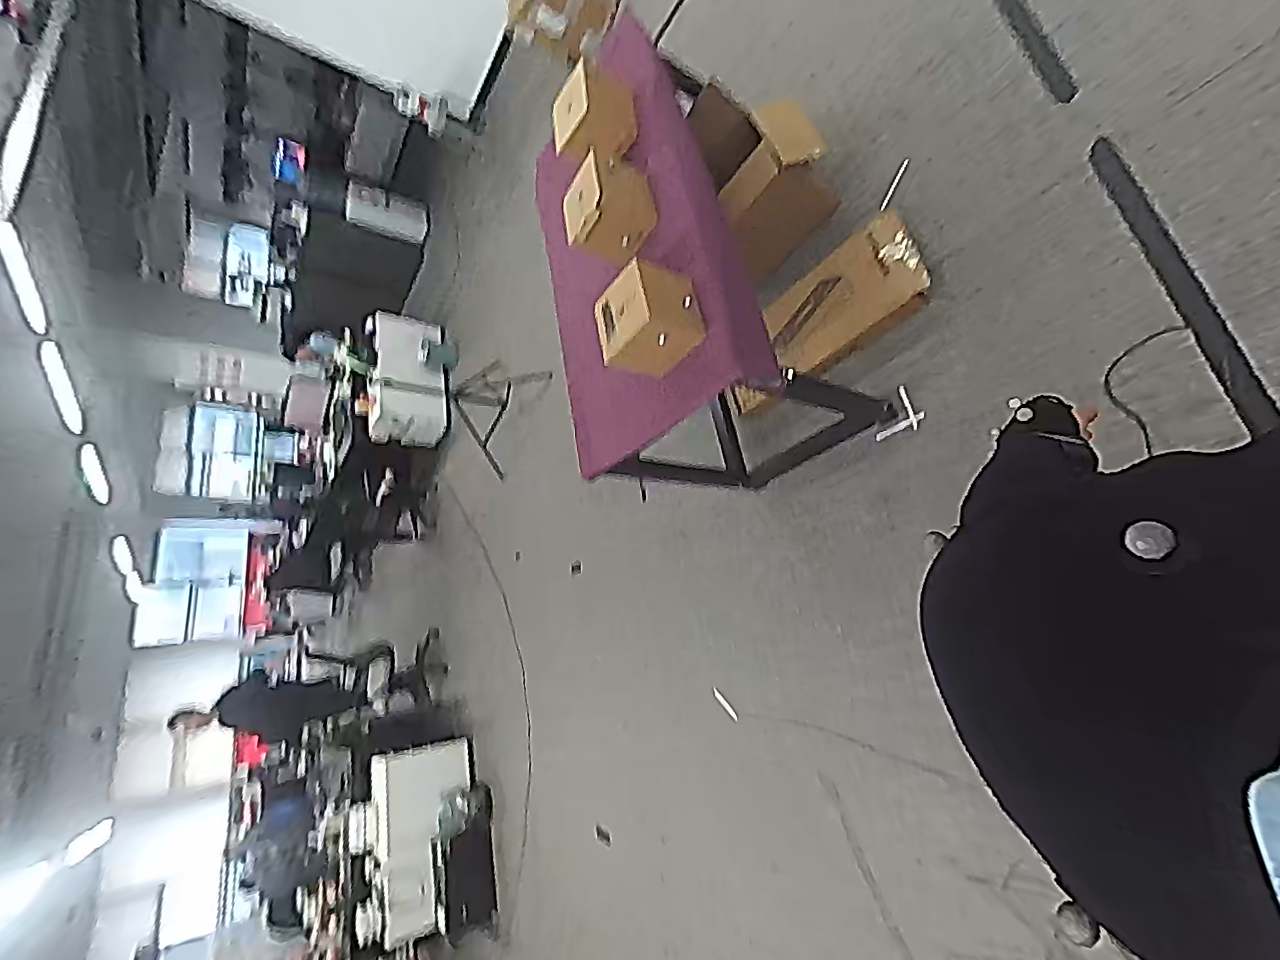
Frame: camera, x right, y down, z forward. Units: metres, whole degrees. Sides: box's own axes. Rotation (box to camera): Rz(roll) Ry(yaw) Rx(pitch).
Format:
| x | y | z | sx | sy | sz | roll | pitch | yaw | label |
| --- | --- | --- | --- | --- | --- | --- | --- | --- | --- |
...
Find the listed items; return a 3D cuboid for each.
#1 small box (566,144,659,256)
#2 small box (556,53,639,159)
| x | y | z | sx | sy | sz | roll | pitch | yaw | label |
| --- | --- | --- | --- | --- | --- | --- | --- | --- | --- |
| -0.072 | -0.720 | 1.413 | 0.168 | 0.176 | 0.179 | -37 | 58 | 48 | small box |
| -0.118 | -1.020 | 1.510 | 0.168 | 0.176 | 0.179 | -26 | 66 | 49 | small box |
